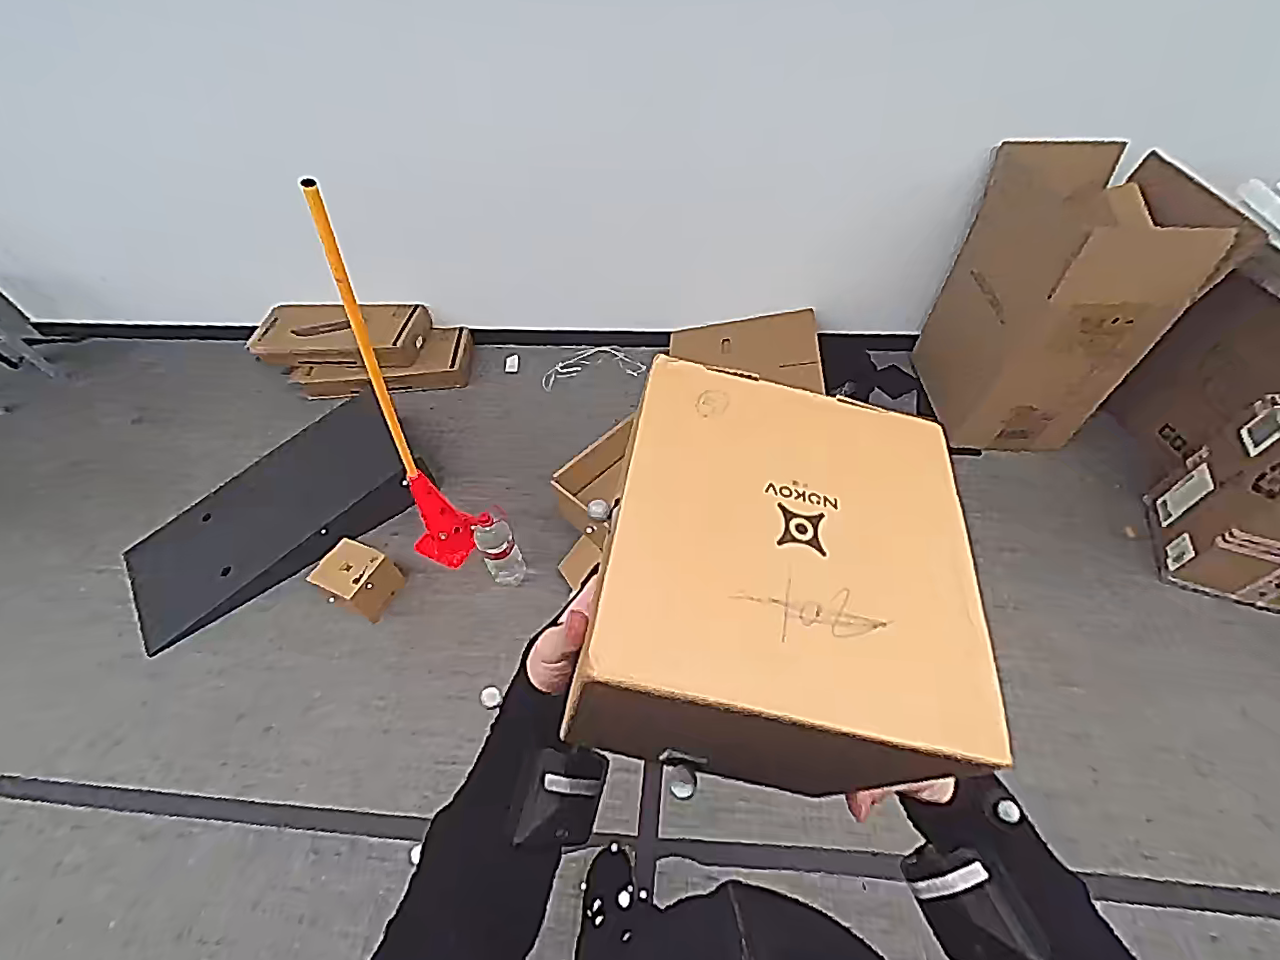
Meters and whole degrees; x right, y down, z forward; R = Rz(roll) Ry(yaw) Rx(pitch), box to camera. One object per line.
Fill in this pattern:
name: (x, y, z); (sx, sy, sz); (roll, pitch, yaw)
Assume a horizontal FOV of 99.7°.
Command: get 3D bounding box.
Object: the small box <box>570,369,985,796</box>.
small box: (0.059, 0.070, 0.324); (0.168, 0.176, 0.179); (14, 55, -2)
